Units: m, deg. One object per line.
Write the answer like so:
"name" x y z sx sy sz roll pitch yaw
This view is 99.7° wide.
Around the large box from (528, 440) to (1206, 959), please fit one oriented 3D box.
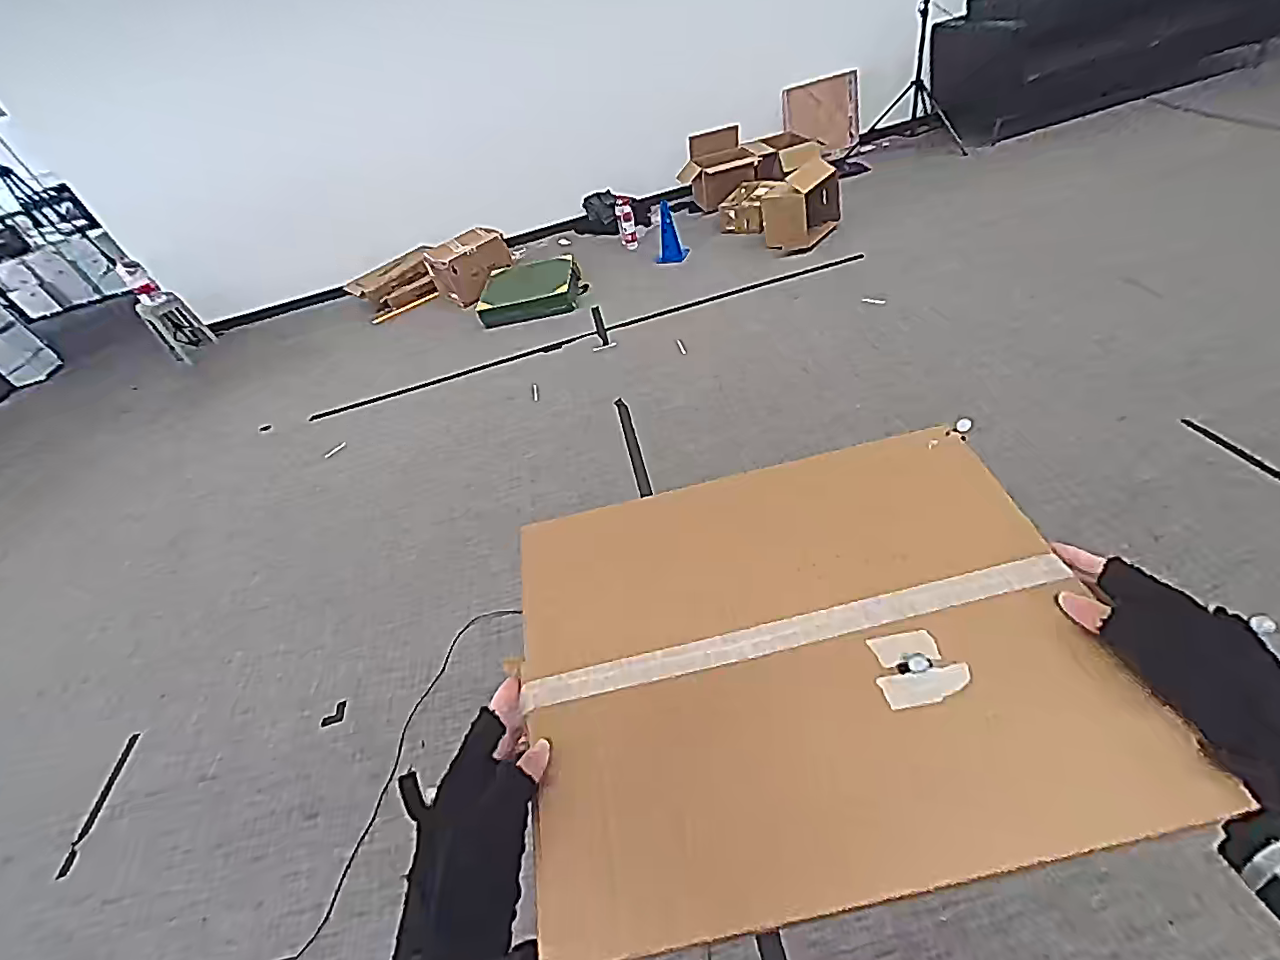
"large box" 0.136 0.215 0.523 0.408 0.320 0.320 -14 50 0
